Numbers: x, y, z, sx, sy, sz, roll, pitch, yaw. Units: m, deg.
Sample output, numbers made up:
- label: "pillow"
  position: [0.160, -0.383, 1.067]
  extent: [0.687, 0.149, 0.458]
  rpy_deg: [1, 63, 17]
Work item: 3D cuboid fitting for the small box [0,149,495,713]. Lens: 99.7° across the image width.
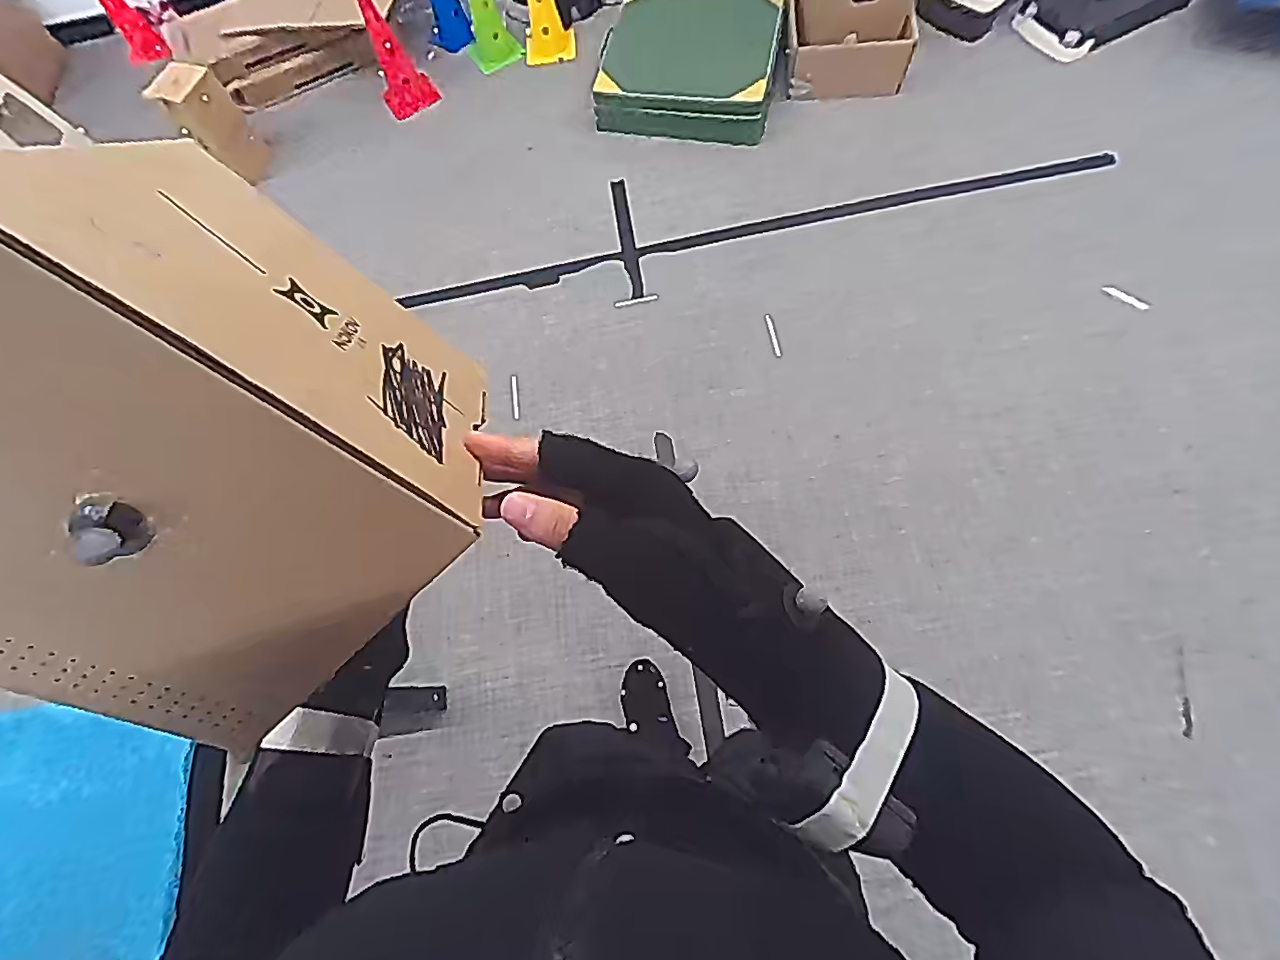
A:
- label: "small box"
  position: [-0.194, -0.019, 0.261]
  extent: [0.176, 0.179, 0.168]
  rpy_deg: [-42, 32, 14]
